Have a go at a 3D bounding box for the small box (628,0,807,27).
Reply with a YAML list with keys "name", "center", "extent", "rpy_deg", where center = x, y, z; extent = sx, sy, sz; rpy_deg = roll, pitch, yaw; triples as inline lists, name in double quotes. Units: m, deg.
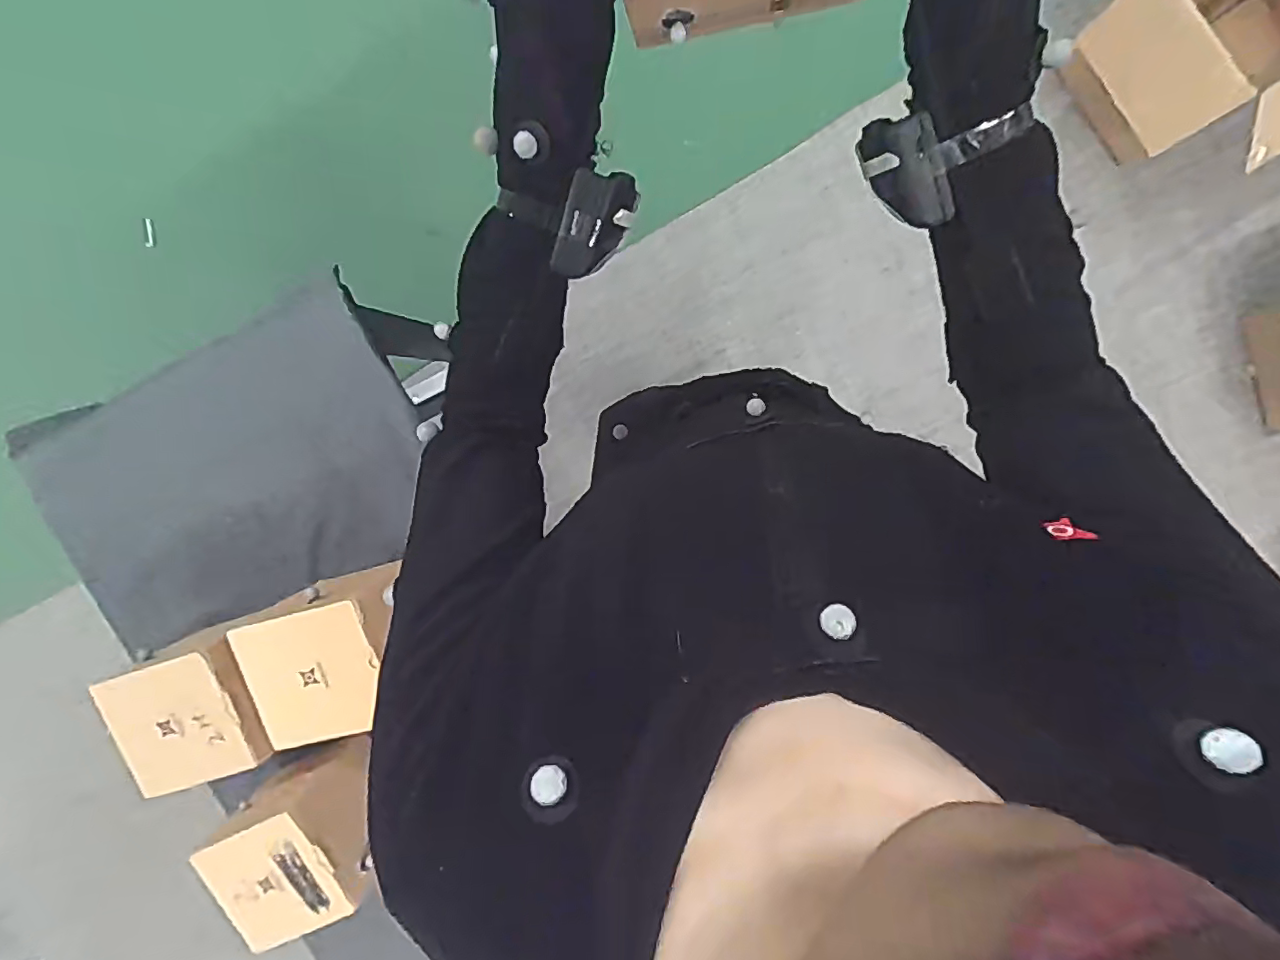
- name: "small box"
  center: [0.054, -0.397, 0.298]
  extent: [0.168, 0.176, 0.179]
  rpy_deg: [-5, 103, 11]
